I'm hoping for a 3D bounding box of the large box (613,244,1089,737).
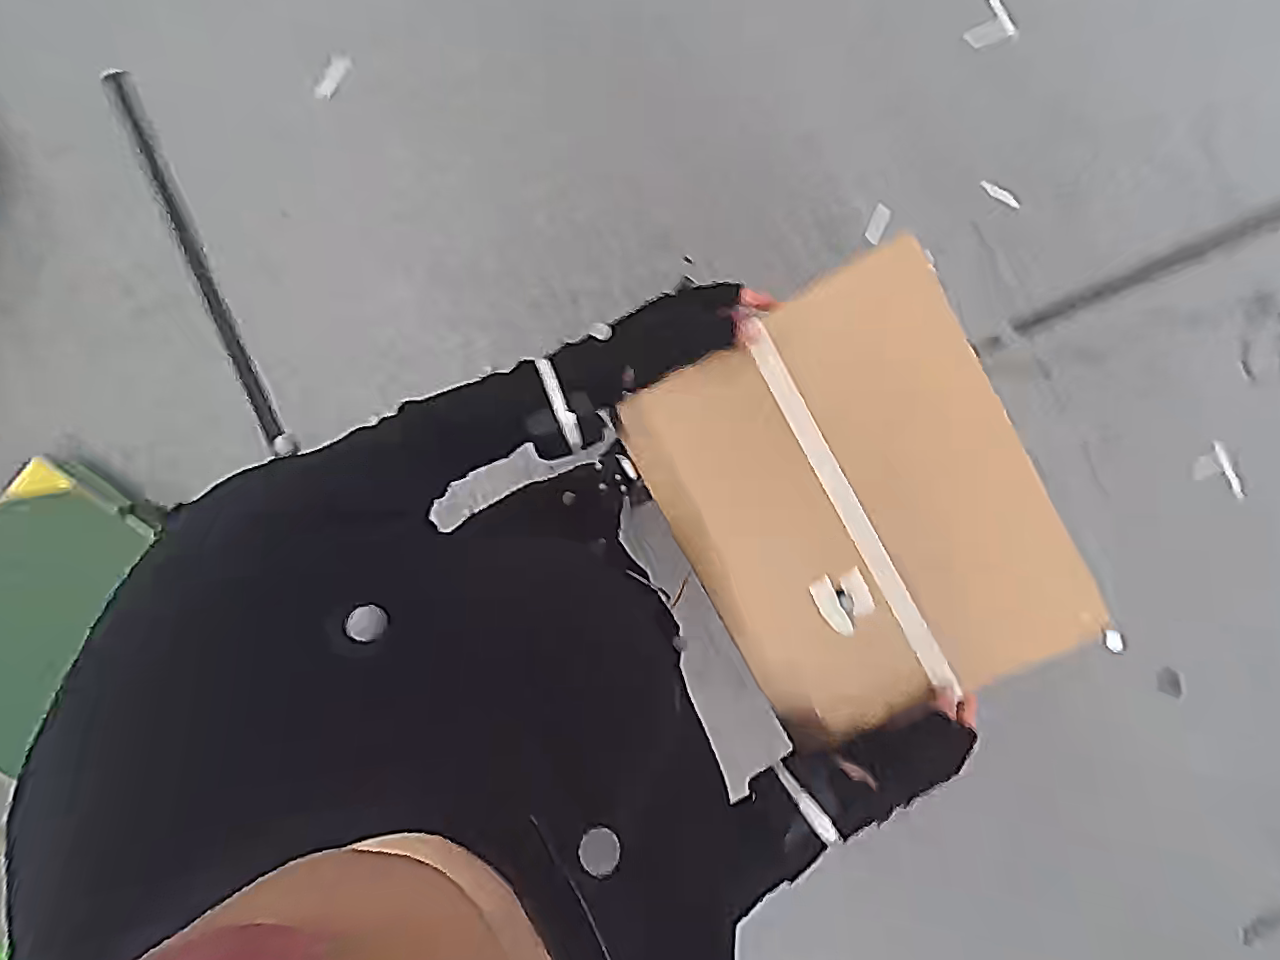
[{"bbox_3d":[0.213,0.005,0.670,0.320,0.320,0.408,-29,94,10],"label":"large box"}]
